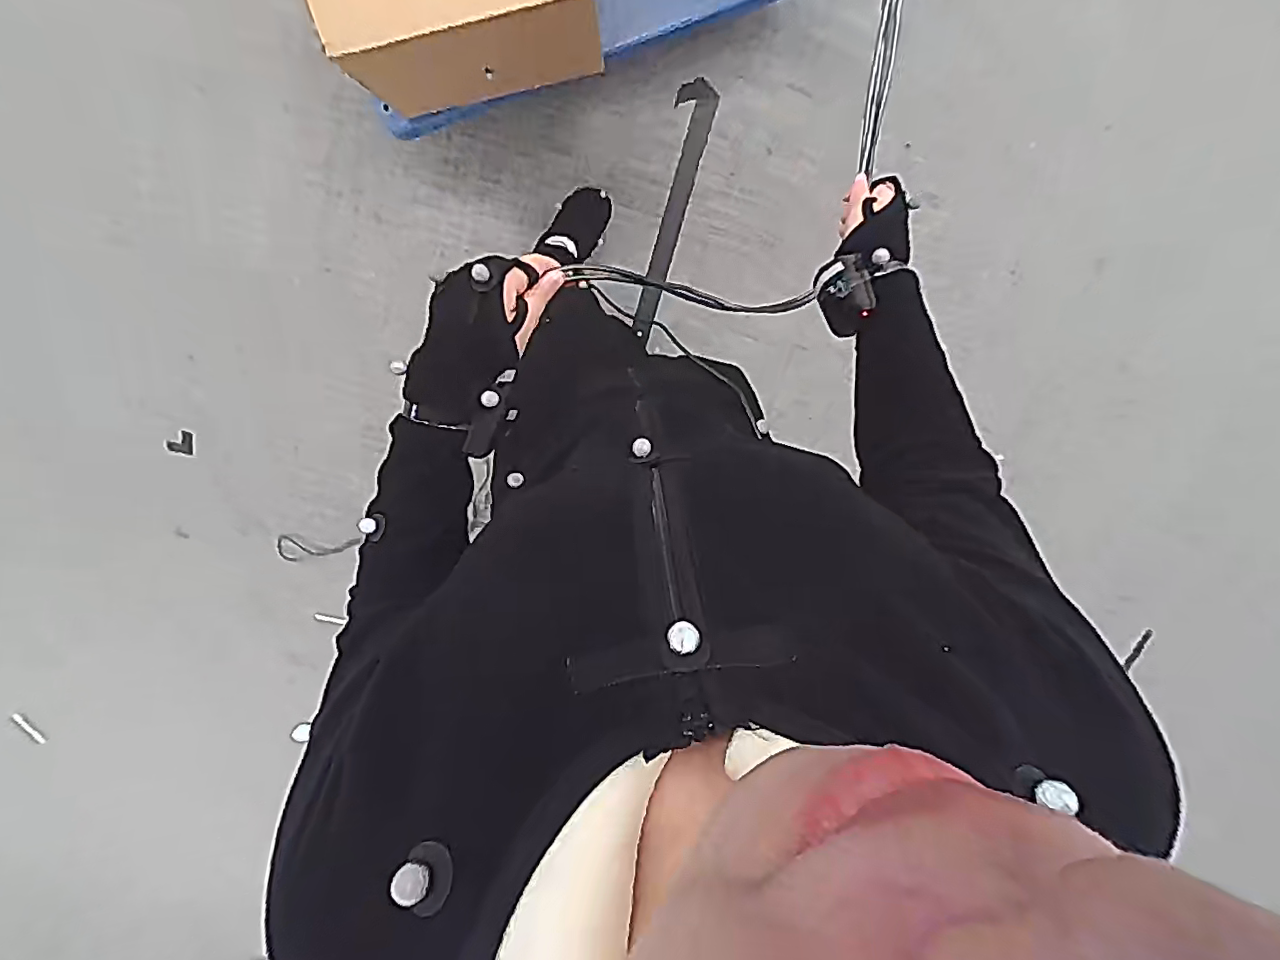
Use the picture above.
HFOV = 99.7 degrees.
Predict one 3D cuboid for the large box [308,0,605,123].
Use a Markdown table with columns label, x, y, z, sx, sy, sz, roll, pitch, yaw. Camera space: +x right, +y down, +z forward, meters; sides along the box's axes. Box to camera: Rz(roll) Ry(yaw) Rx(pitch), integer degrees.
| label | x | y | z | sx | sy | sz | roll | pitch | yaw |
| --- | --- | --- | --- | --- | --- | --- | --- | --- | --- |
| large box | -0.292 | -0.833 | 0.869 | 0.408 | 0.320 | 0.320 | -12 | 108 | 4 |
